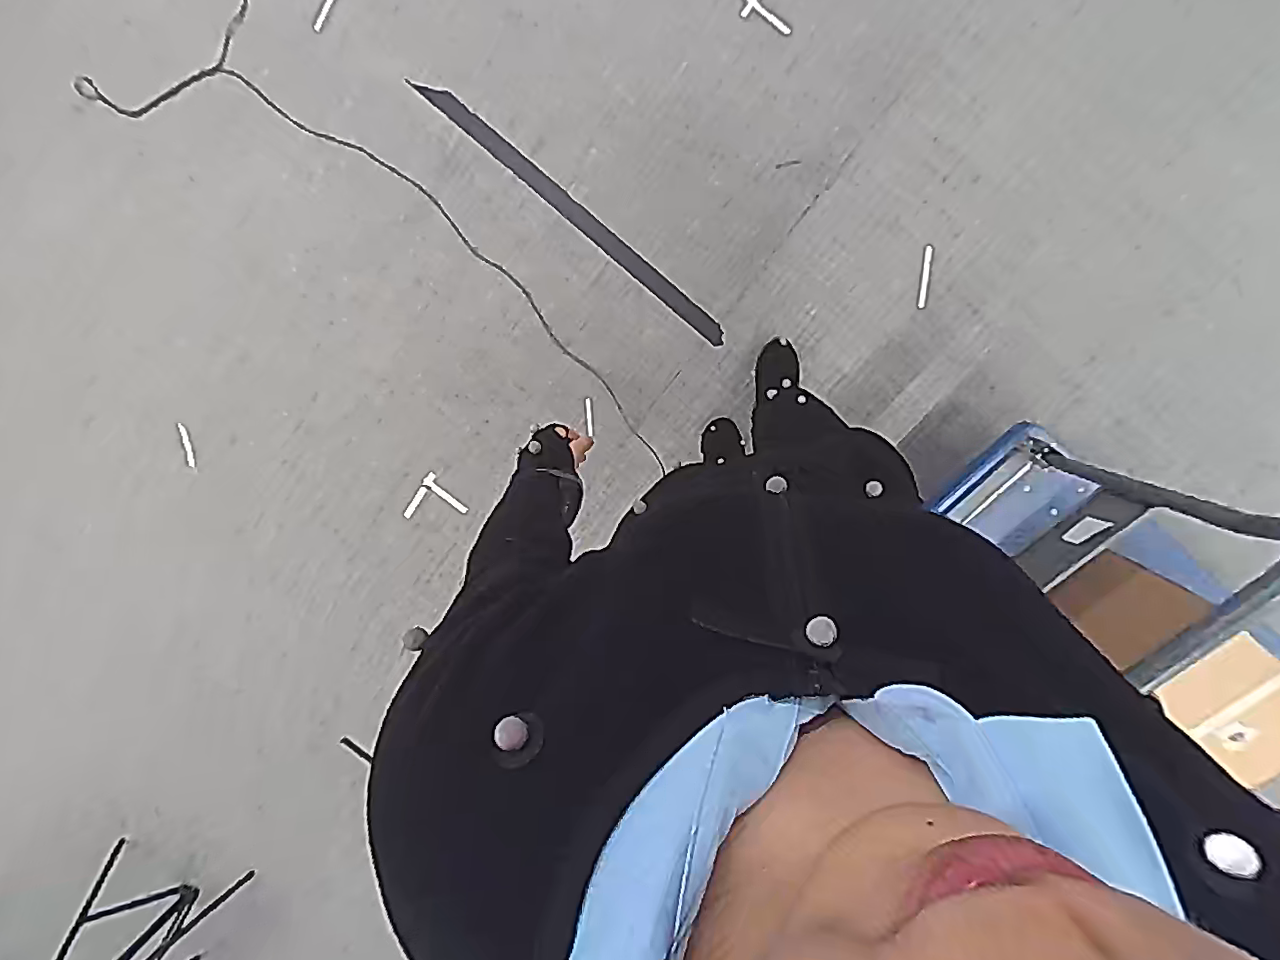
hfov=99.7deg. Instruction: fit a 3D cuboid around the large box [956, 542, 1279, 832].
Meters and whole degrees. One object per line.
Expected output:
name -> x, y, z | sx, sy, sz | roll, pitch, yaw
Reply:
large box -> 0.977, 0.406, 1.128 | 0.320, 0.320, 0.408 | 41, 105, -2
